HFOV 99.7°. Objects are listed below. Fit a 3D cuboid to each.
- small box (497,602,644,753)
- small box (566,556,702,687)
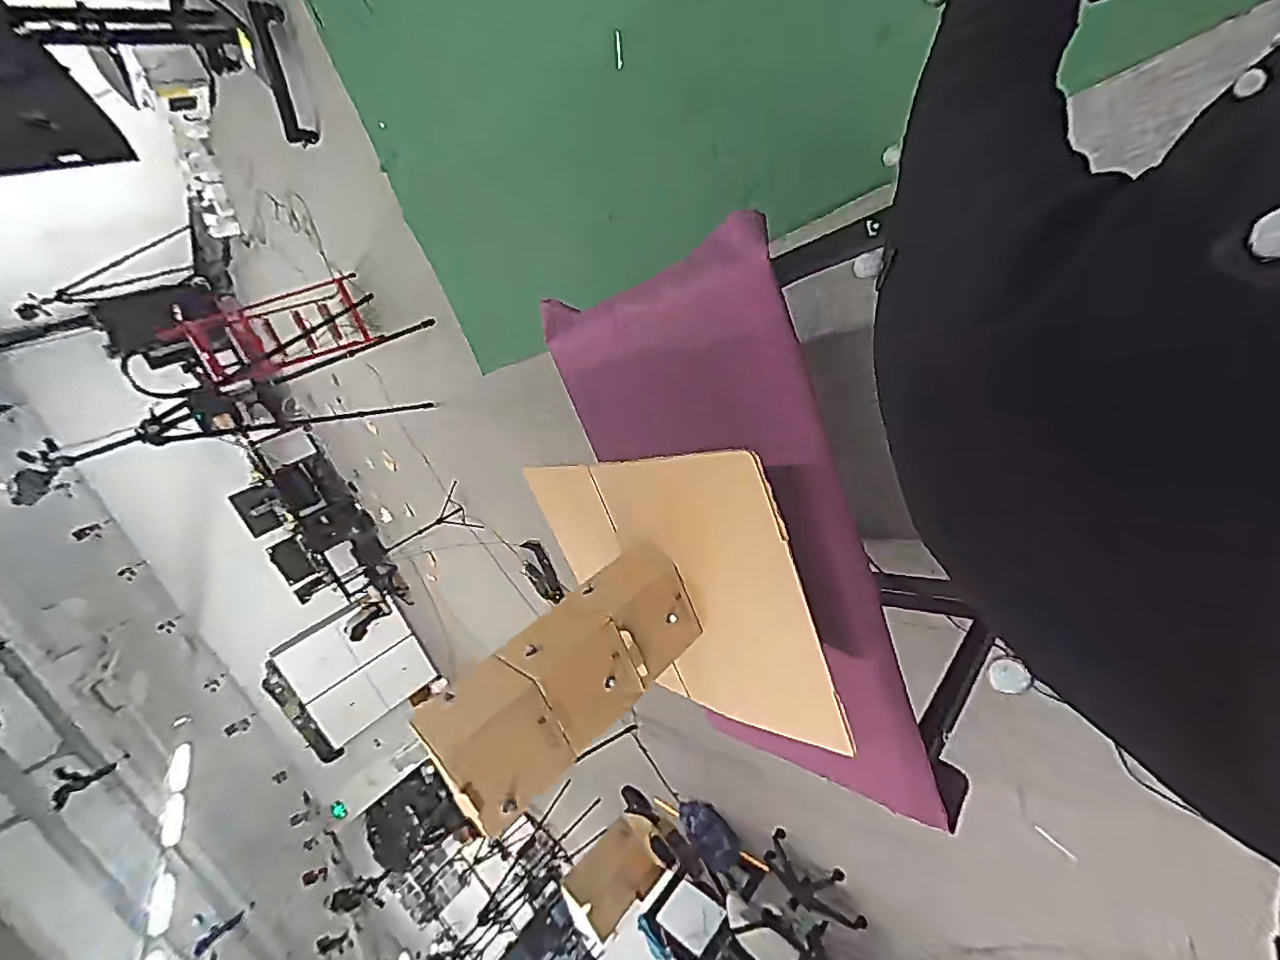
[{"bbox_3d":[-0.123,0.342,0.979,0.179,0.176,0.168,0,117,51],"label":"small box"},{"bbox_3d":[-0.009,0.267,1.068,0.179,0.176,0.168,0,118,52],"label":"small box"}]
